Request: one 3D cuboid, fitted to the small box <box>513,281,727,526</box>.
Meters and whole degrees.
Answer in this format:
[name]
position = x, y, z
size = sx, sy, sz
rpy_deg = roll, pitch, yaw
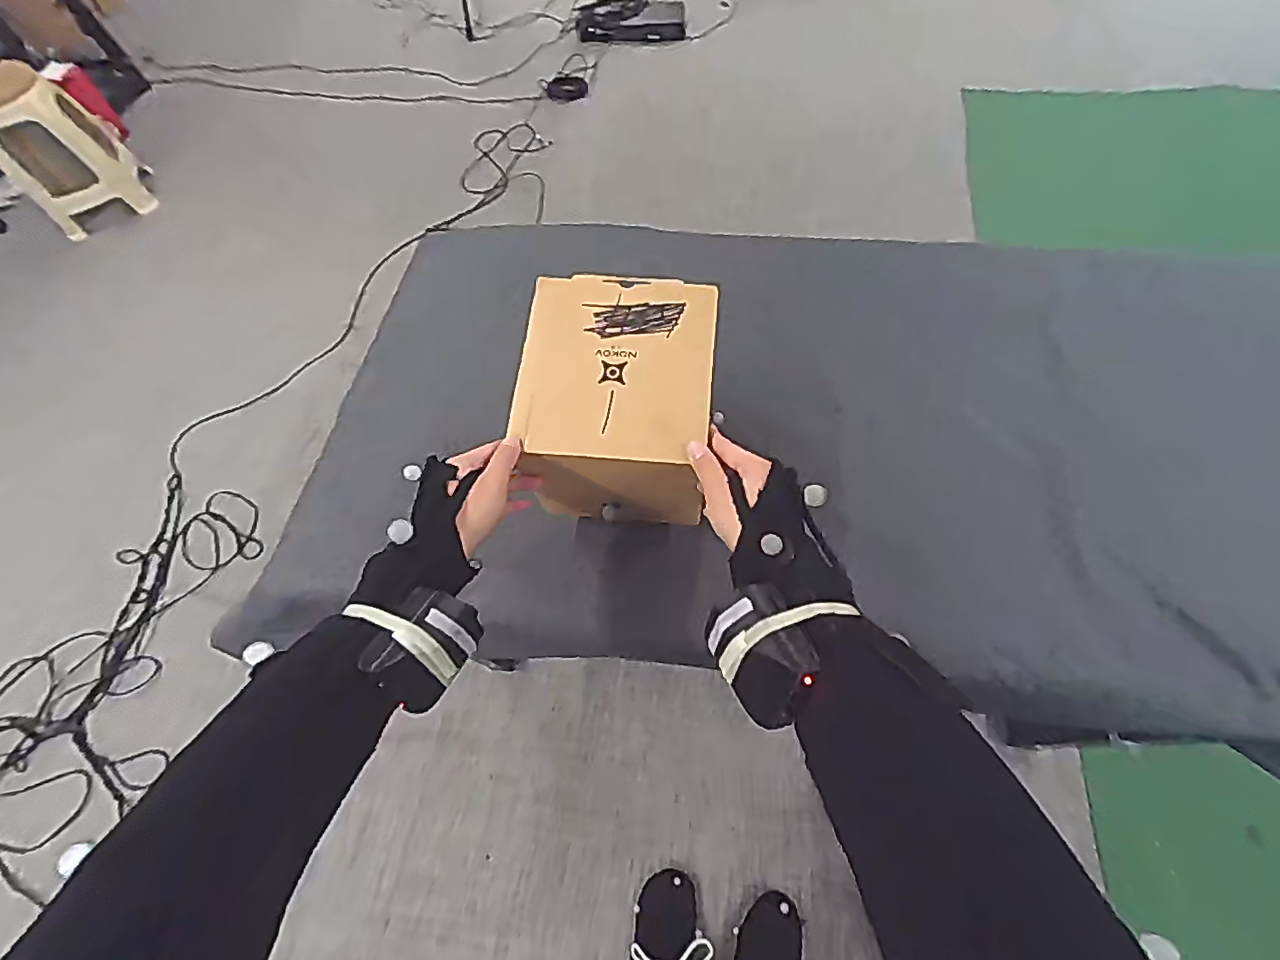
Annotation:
[small box]
position = -0.009, -0.067, 0.532
size = 0.168, 0.176, 0.179
rpy_deg = 4, 70, 5
